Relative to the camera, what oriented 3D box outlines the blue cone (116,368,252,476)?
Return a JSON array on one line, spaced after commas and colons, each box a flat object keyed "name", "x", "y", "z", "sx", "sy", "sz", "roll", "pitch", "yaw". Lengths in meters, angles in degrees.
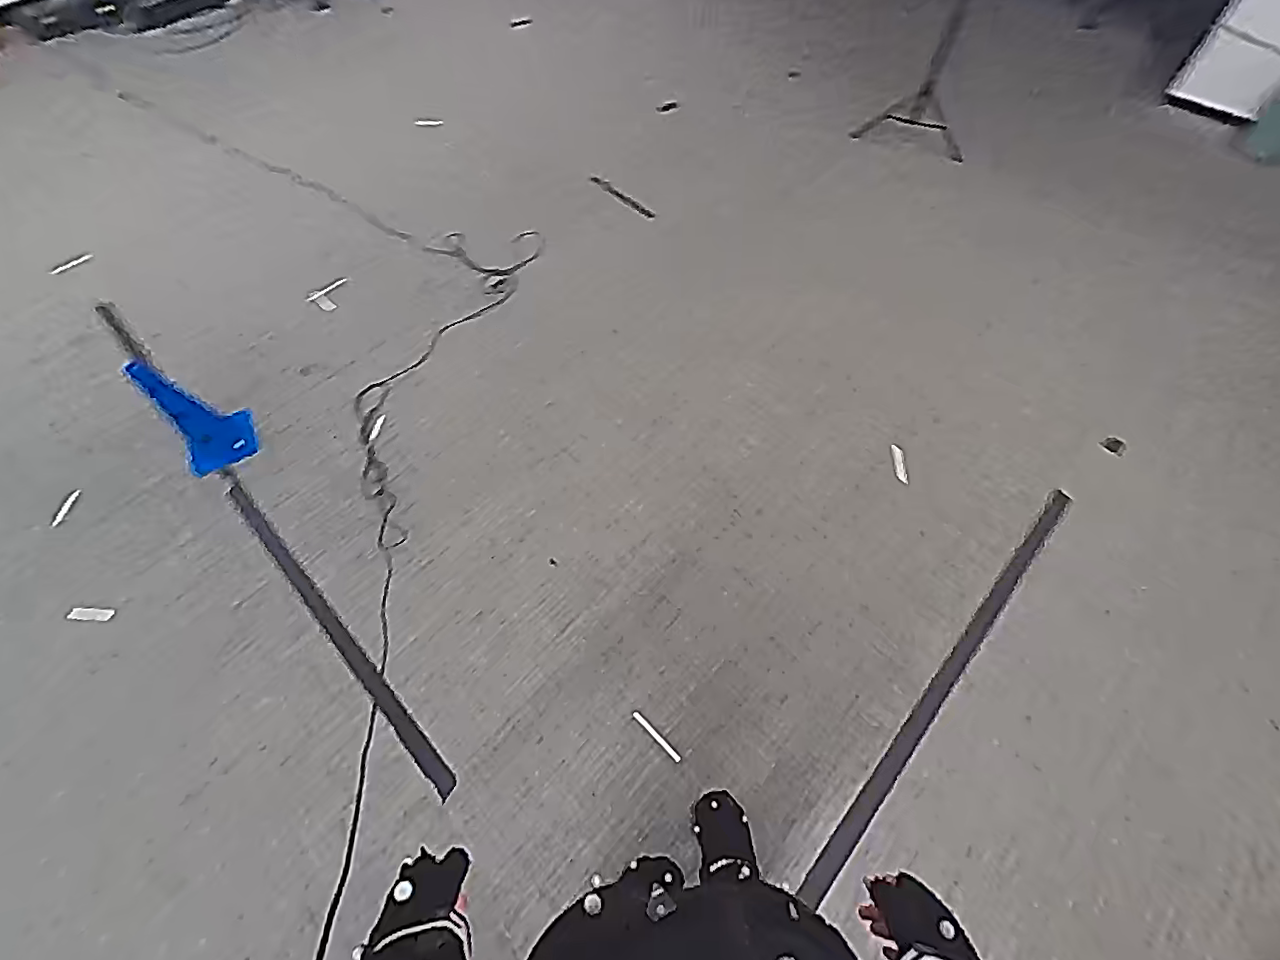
[{"name": "blue cone", "x": -1.352, "y": -0.196, "z": 1.591, "sx": 0.192, "sy": 0.380, "sz": 0.193, "roll": -26, "pitch": 63, "yaw": -13}]
